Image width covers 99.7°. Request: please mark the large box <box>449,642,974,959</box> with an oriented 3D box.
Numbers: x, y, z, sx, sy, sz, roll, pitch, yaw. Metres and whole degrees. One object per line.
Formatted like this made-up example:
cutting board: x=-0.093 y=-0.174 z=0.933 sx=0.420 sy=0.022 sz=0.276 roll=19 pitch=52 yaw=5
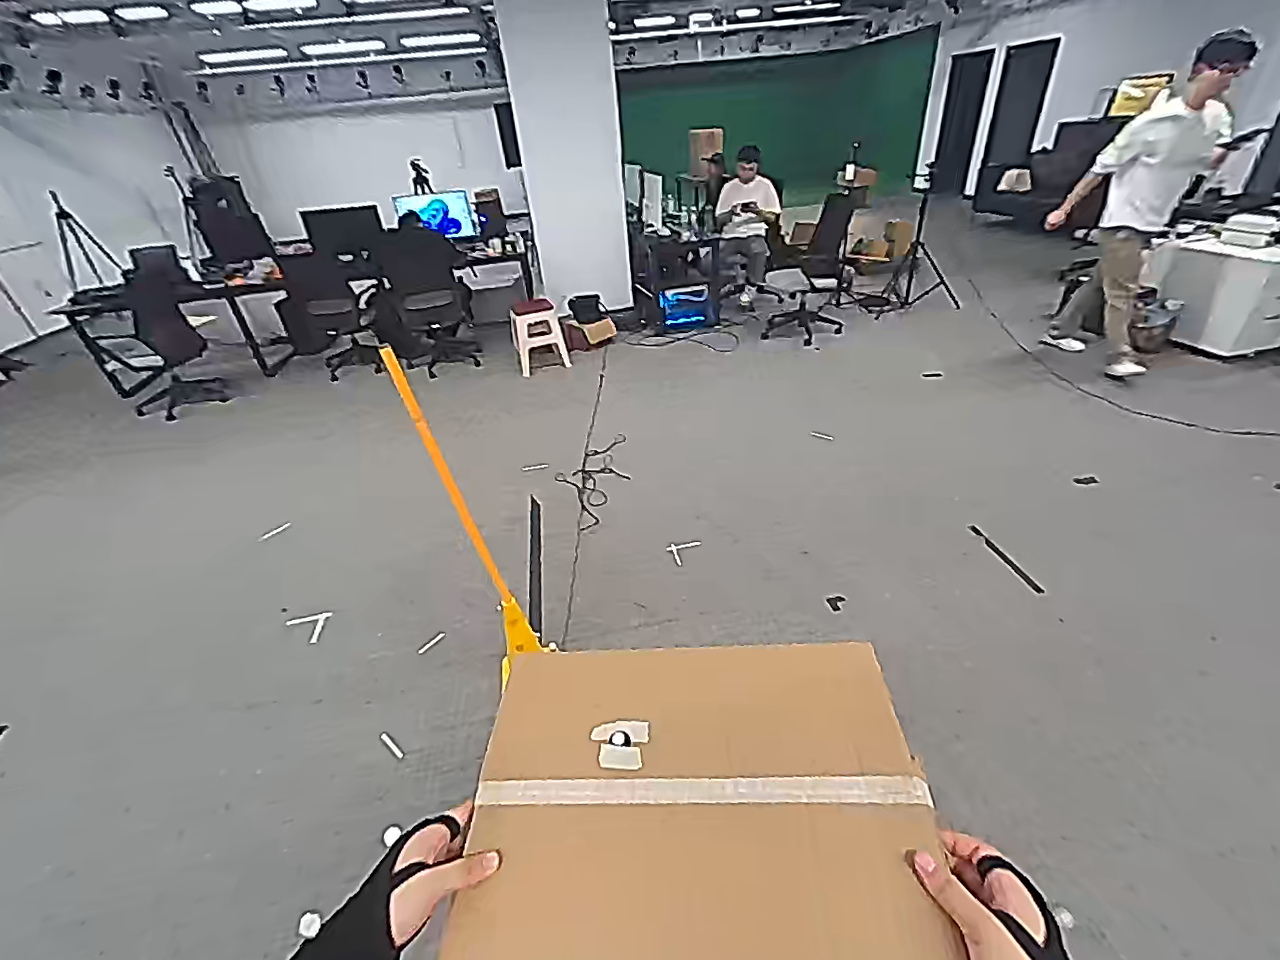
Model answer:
large box: x=0.071 y=0.410 z=0.588 sx=0.408 sy=0.320 sz=0.320 roll=-6 pitch=36 yaw=7
